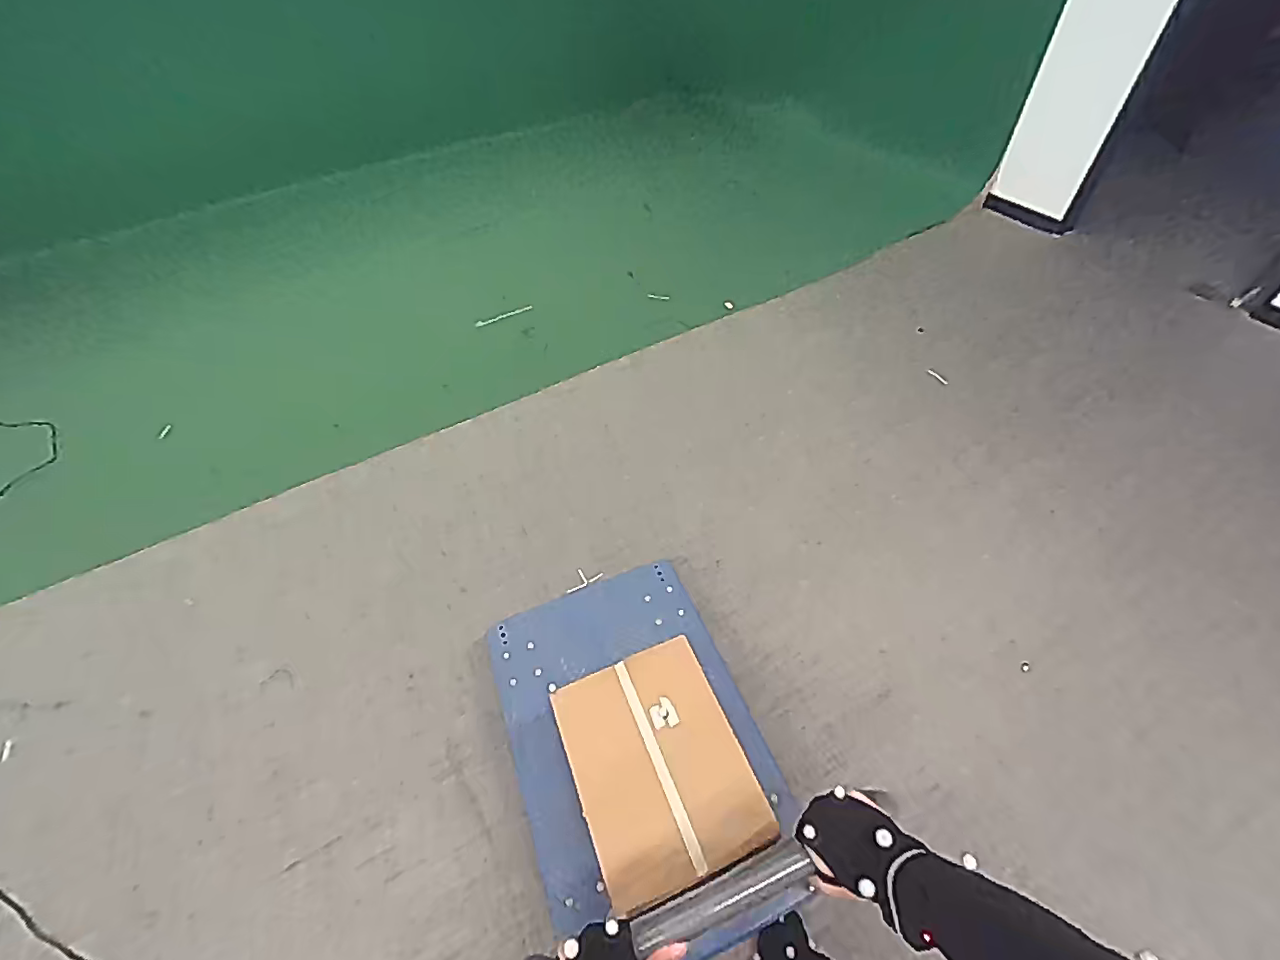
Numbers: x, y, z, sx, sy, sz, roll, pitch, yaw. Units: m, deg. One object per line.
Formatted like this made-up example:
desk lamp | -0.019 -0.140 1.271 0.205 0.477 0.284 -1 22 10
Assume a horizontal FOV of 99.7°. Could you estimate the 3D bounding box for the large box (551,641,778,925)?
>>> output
large box | 0.043 0.634 1.150 0.320 0.320 0.408 -20 50 -12
